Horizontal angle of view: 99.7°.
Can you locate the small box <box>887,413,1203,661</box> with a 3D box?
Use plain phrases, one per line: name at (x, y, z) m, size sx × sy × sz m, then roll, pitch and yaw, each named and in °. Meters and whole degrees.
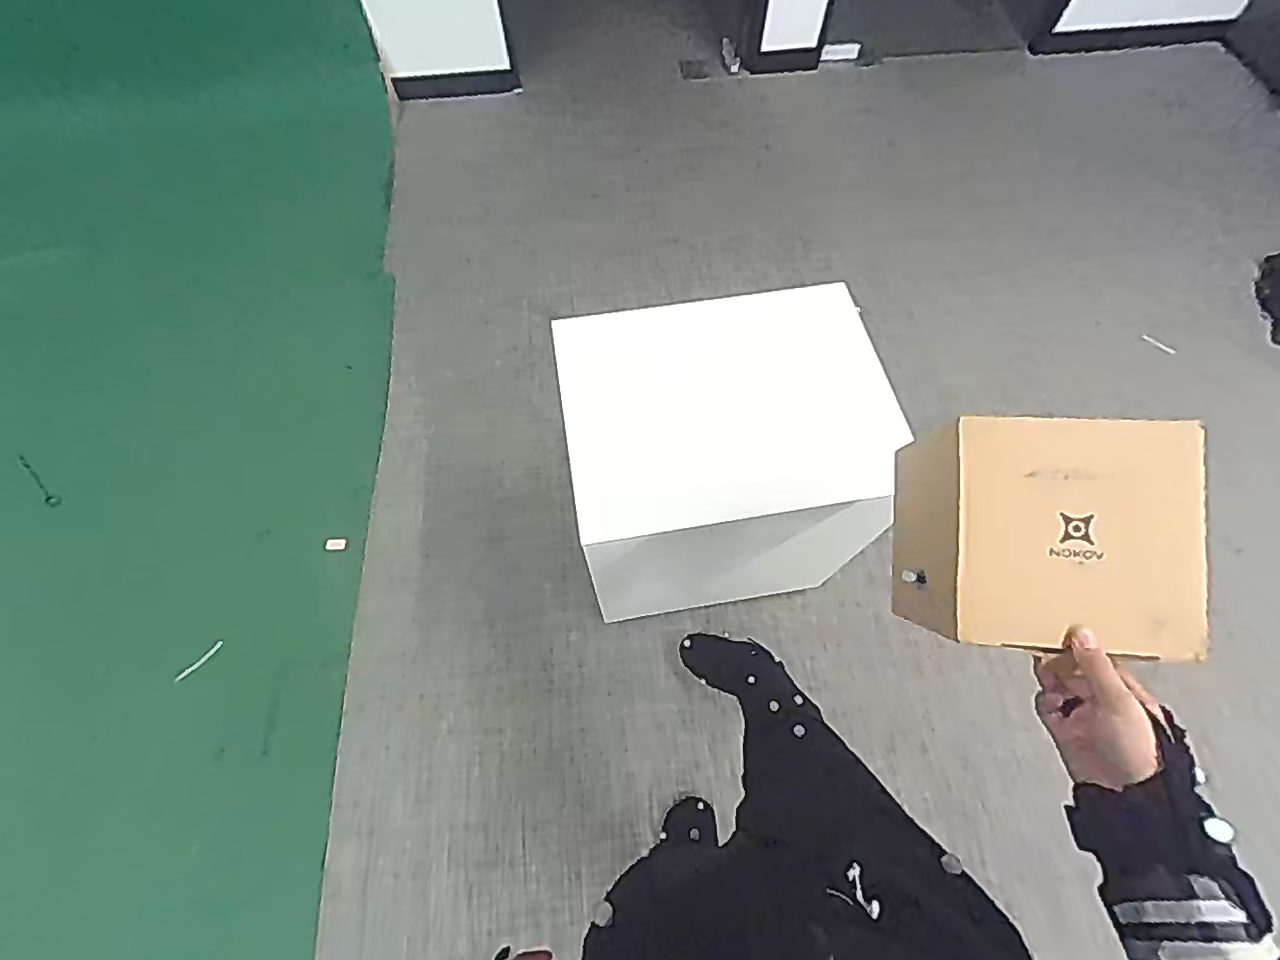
small box at (0.329, 0.045, 0.475) m, size 0.168 × 0.176 × 0.179 m, roll 2°, pitch 84°, yaw 8°
